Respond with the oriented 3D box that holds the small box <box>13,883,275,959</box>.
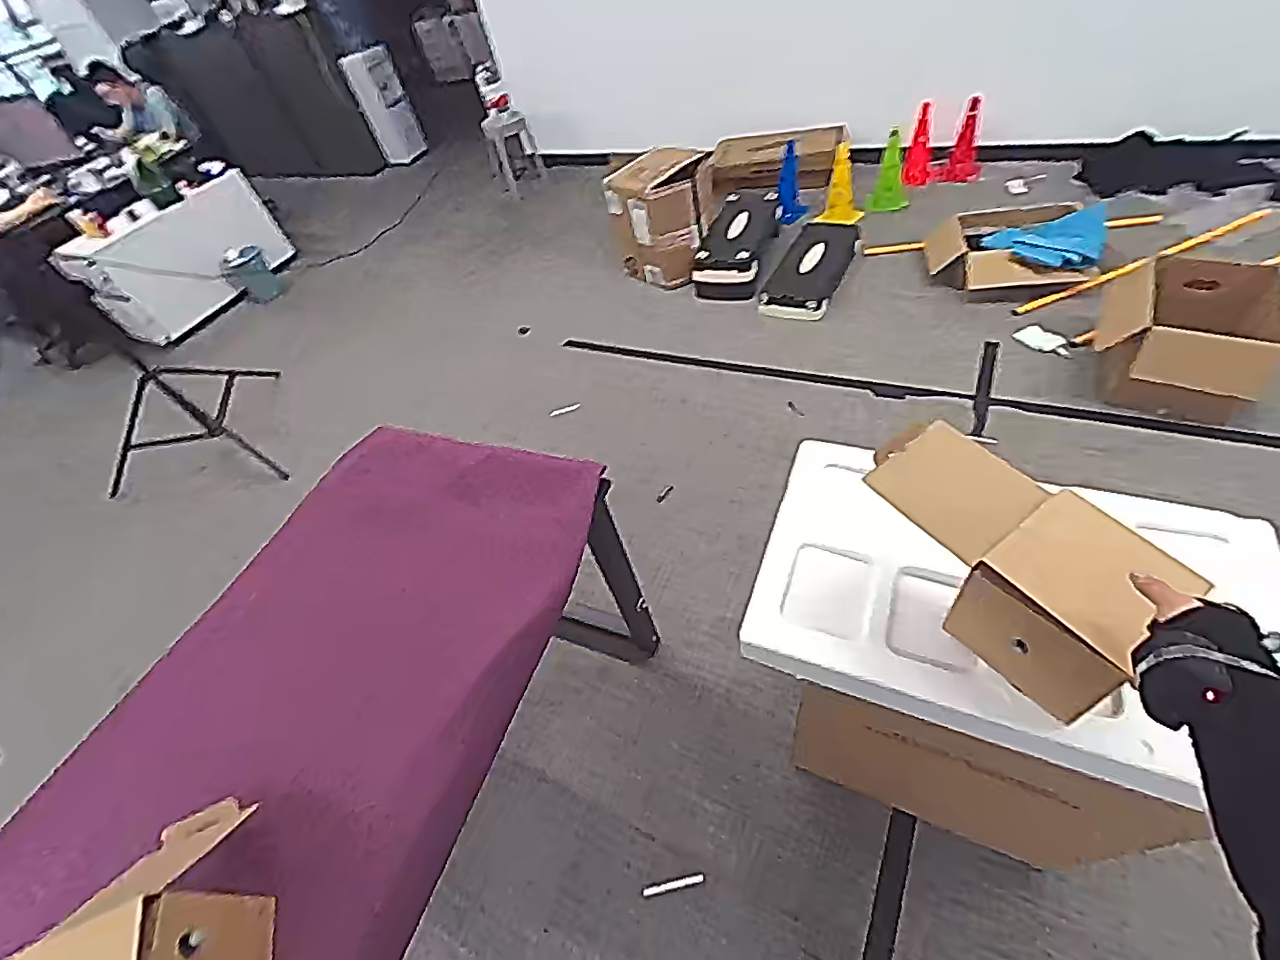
[{"bbox_3d":[-0.517,0.560,0.560,0.168,0.176,0.179,-24,49,-5],"label":"small box"}]
